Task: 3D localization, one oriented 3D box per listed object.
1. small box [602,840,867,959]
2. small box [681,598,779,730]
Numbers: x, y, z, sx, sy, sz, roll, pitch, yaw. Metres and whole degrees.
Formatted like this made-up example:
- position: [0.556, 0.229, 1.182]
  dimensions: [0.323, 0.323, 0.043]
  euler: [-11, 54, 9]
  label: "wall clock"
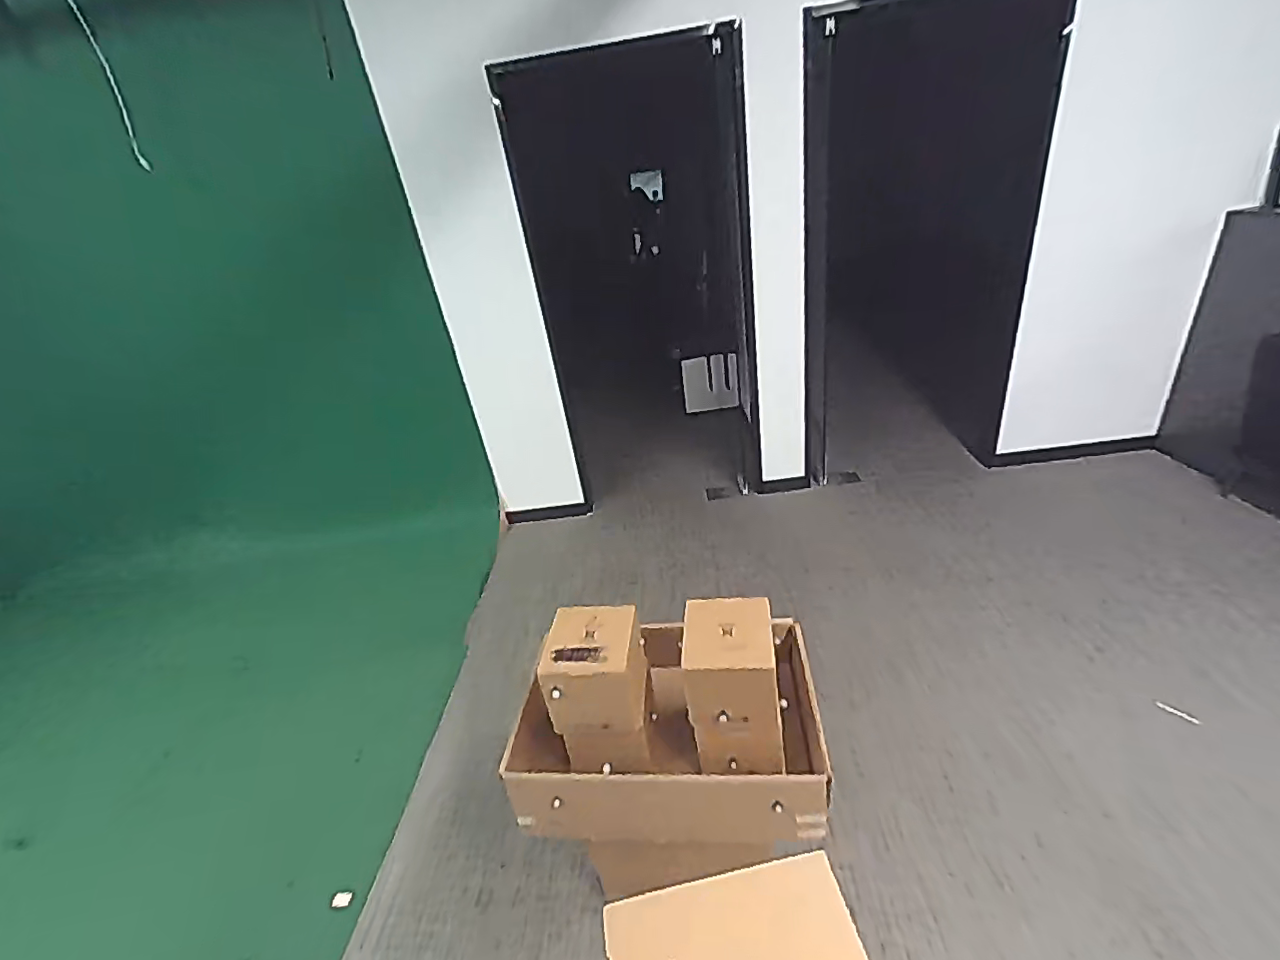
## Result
- position: [0.078, 0.403, 0.392]
  dimensions: [0.179, 0.176, 0.168]
  euler: [-12, 33, -3]
  label: "small box"
- position: [0.176, 0.350, 1.044]
  dimensions: [0.168, 0.176, 0.179]
  euler: [-5, 30, 12]
  label: "small box"
